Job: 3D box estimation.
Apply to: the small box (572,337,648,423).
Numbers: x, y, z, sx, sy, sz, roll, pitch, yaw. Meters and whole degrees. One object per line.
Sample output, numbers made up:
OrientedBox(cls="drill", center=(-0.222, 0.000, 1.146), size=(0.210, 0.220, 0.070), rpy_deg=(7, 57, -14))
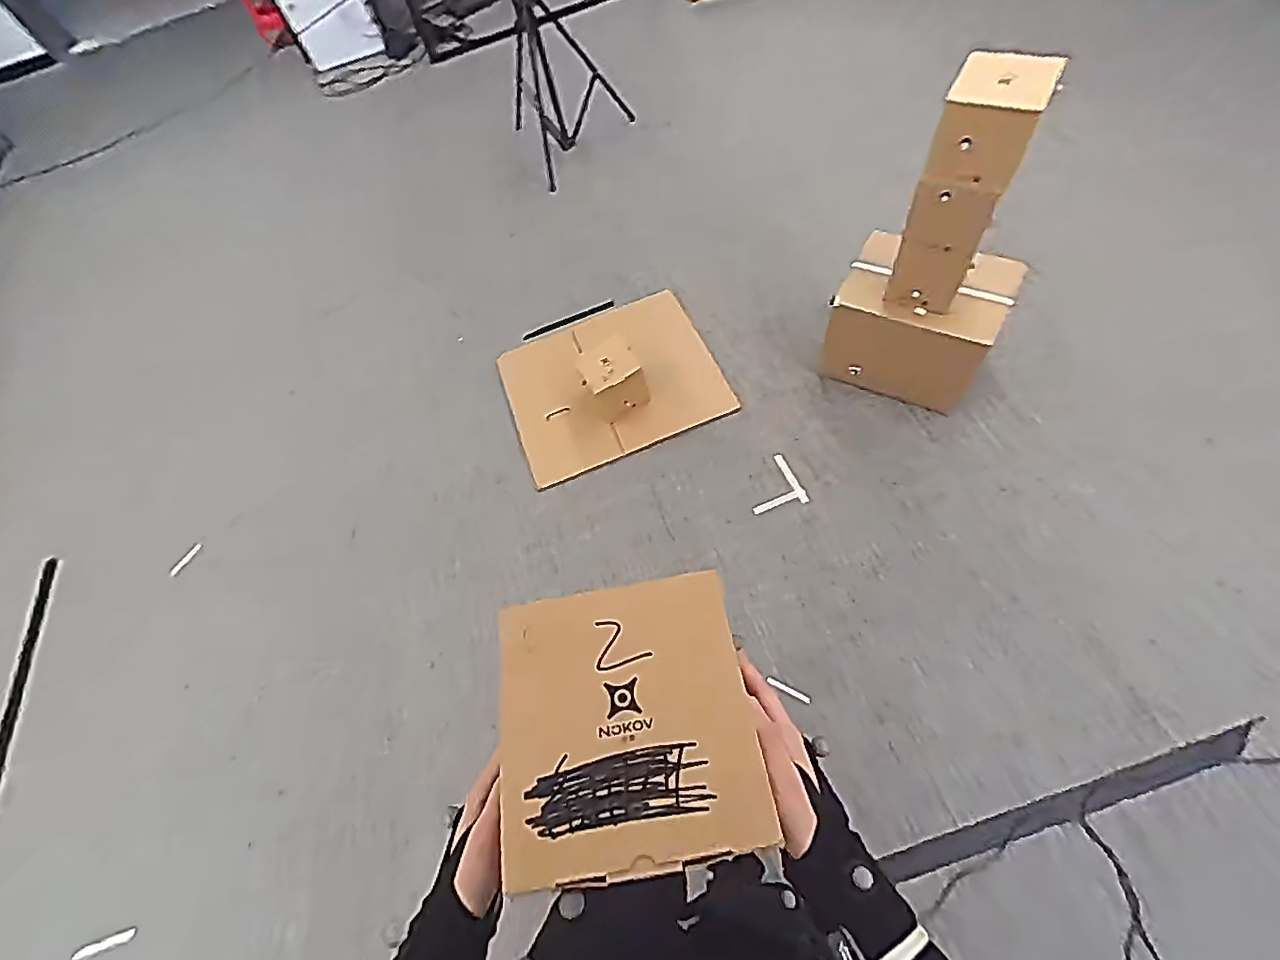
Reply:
OrientedBox(cls="small box", center=(-0.093, -0.317, 1.738), size=(0.168, 0.176, 0.179), rpy_deg=(-31, 61, -4))

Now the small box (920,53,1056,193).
OrientedBox(cls="small box", center=(0.685, -0.712, 1.085), size=(0.168, 0.176, 0.179), rpy_deg=(23, 68, 21))

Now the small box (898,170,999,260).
OrientedBox(cls="small box", center=(0.710, -0.638, 1.228), size=(0.168, 0.176, 0.179), rpy_deg=(23, 68, 22))

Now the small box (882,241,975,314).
OrientedBox(cls="small box", center=(0.735, -0.559, 1.369), size=(0.168, 0.176, 0.179), rpy_deg=(23, 69, 21))
